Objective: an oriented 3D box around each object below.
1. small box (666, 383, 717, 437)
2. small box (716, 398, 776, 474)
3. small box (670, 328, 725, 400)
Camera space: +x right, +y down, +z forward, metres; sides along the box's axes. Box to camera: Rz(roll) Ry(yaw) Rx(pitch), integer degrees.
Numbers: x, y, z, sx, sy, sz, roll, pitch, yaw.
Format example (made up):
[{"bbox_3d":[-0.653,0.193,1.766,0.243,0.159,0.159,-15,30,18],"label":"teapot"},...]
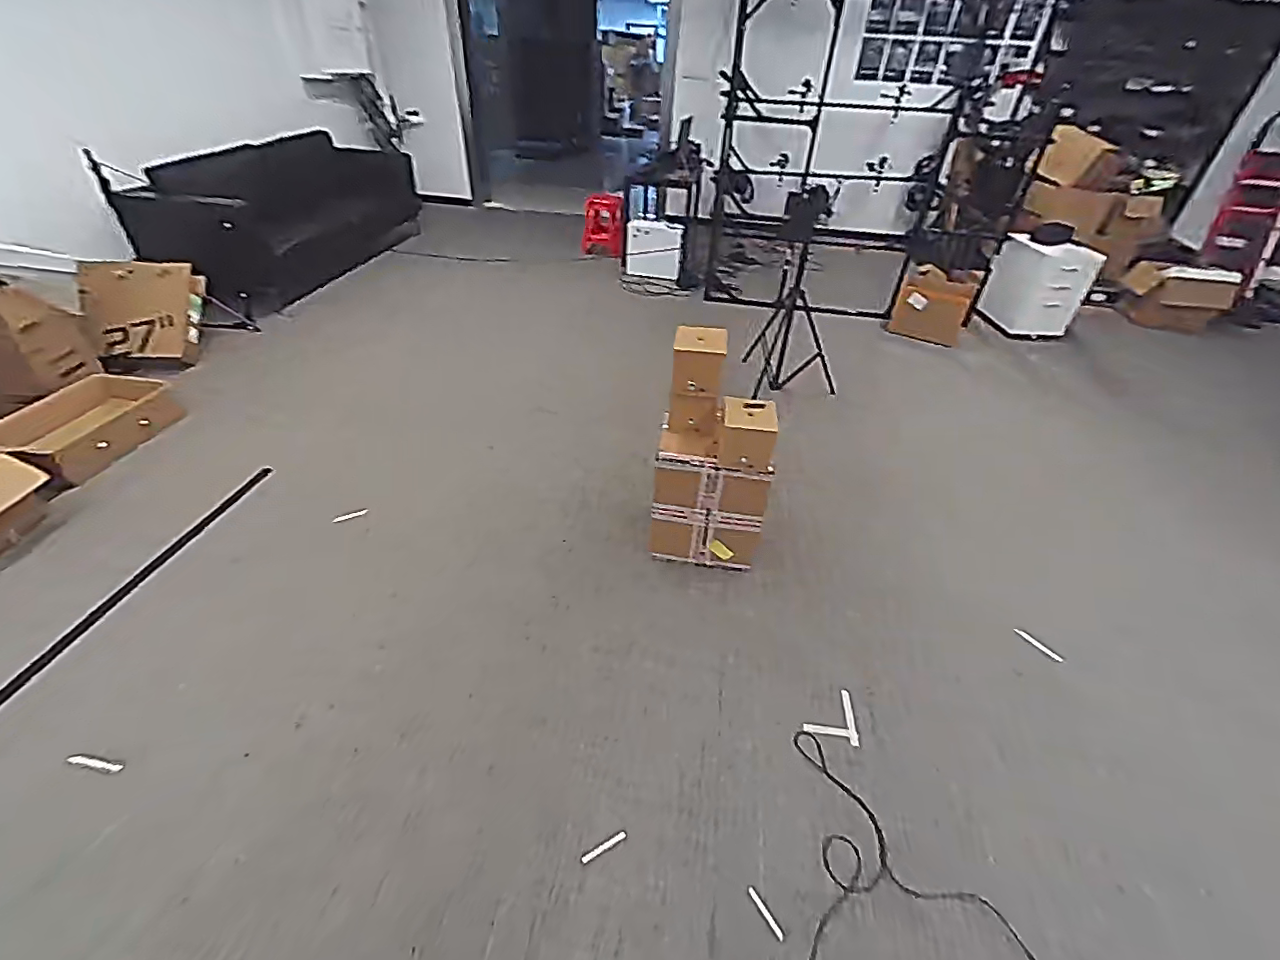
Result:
[{"bbox_3d":[0.185,-0.275,1.918,0.168,0.176,0.179,6,41,6],"label":"small box"},{"bbox_3d":[0.341,-0.145,1.770,0.168,0.176,0.179,6,41,3],"label":"small box"},{"bbox_3d":[0.191,-0.386,1.796,0.168,0.176,0.179,5,41,6],"label":"small box"}]
